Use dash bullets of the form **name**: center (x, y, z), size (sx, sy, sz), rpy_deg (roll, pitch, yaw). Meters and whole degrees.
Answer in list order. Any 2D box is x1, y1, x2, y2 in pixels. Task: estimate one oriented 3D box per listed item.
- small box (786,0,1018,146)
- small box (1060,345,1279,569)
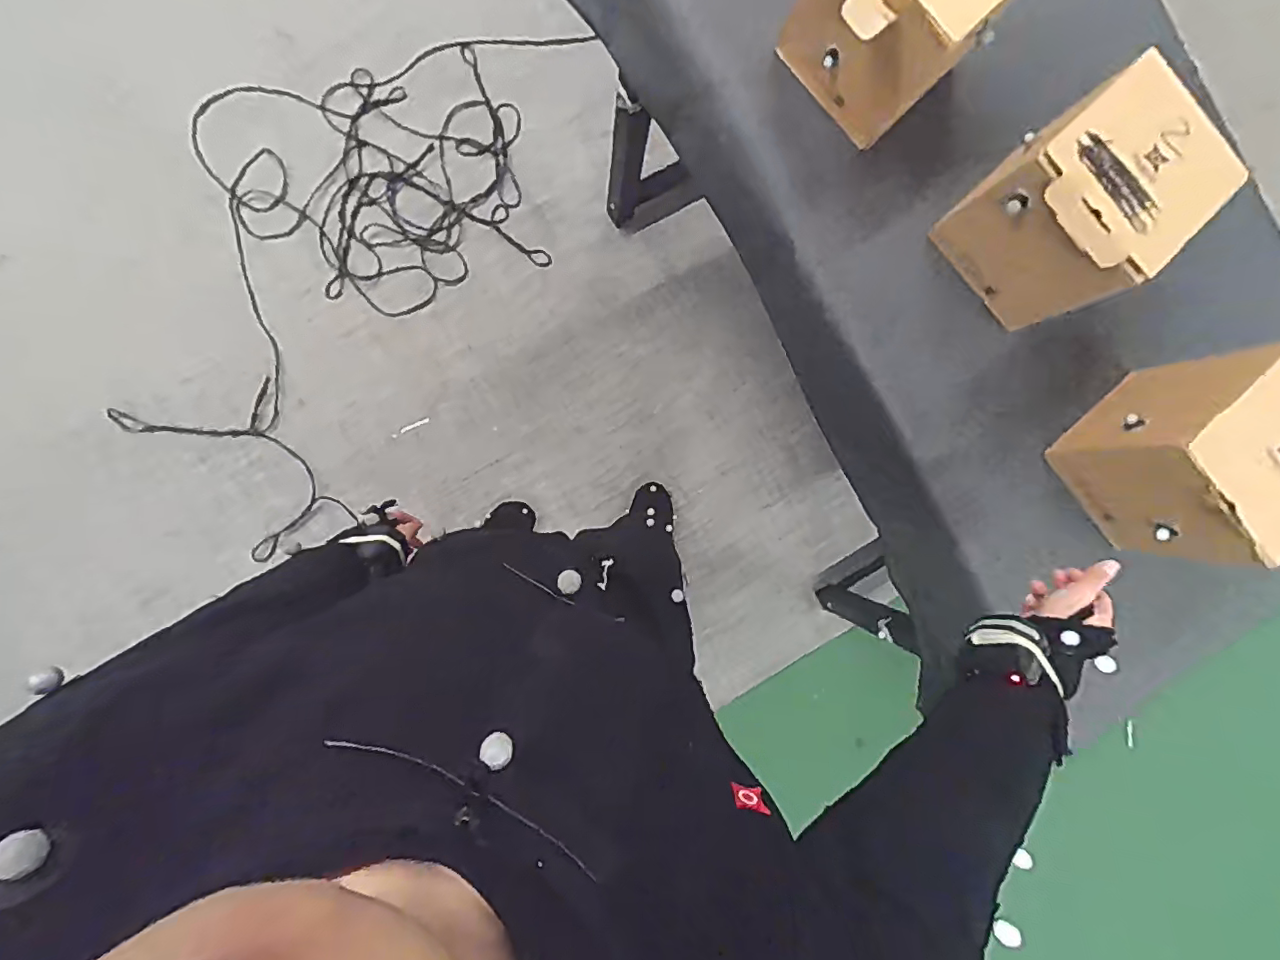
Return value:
- **small box**: center (0.293, -0.522, 0.588), size (0.179, 0.176, 0.168), rpy_deg (-45, 95, -4)
- **small box**: center (0.641, -0.024, 0.625), size (0.179, 0.176, 0.168), rpy_deg (-40, 95, -6)
